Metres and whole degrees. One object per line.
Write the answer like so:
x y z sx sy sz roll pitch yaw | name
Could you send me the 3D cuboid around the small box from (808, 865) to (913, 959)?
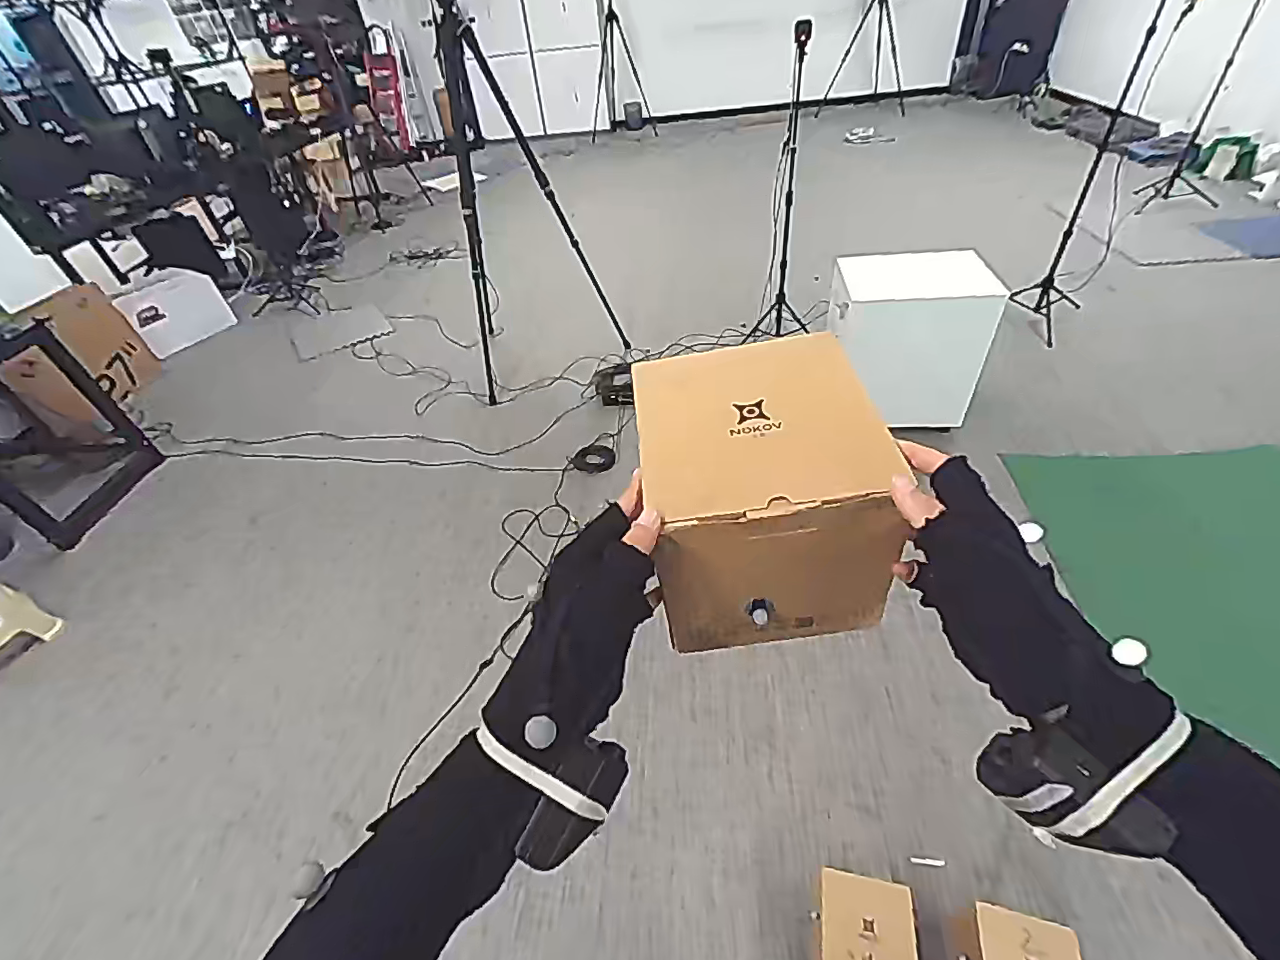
0.421 0.892 1.053 0.168 0.176 0.179 5 44 14 | small box
